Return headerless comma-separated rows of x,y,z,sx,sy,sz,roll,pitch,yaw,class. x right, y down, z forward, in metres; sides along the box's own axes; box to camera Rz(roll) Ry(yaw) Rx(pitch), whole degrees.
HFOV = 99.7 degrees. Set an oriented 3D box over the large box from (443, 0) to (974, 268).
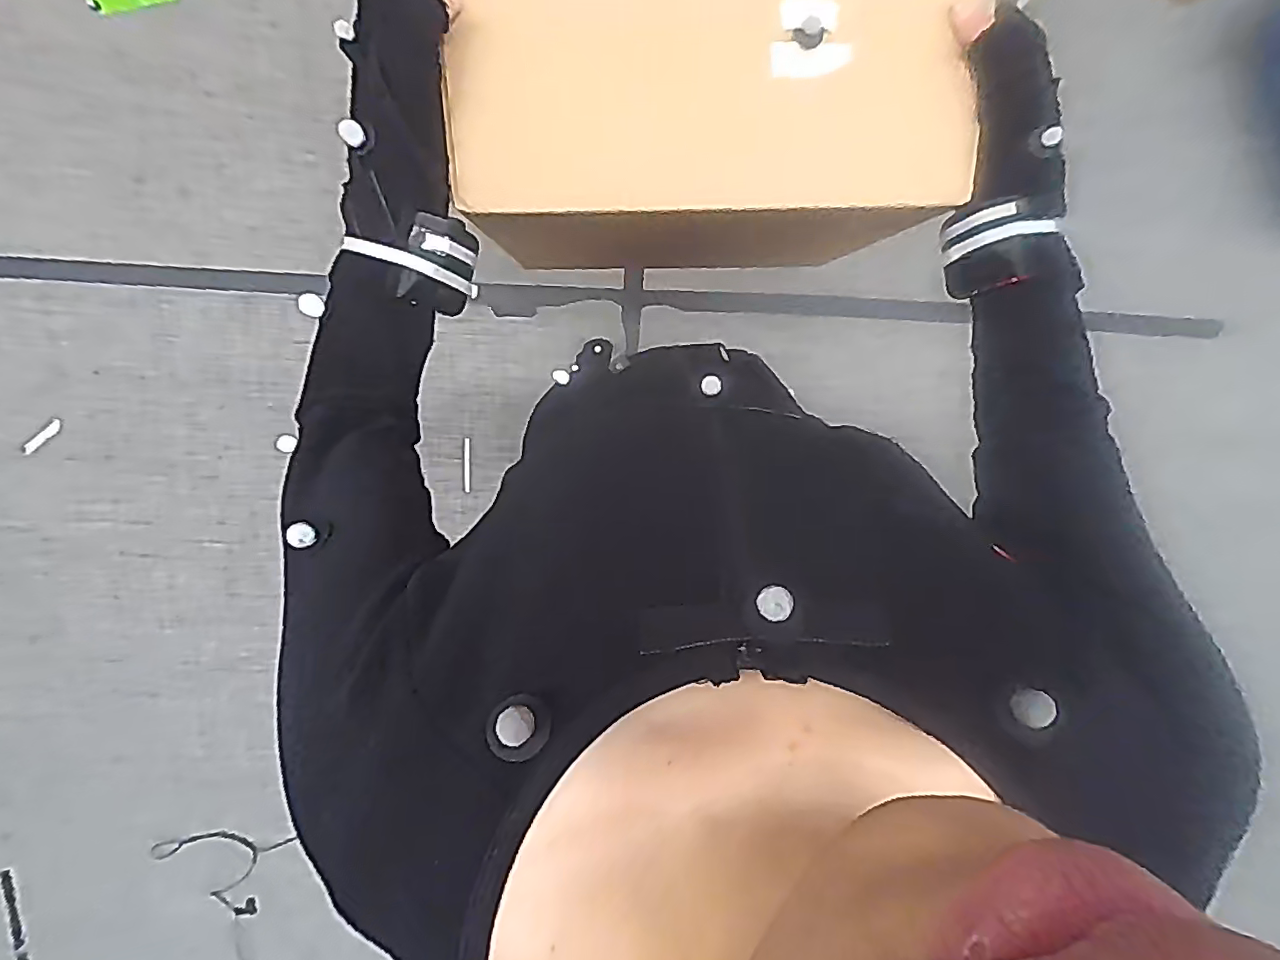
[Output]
0.045,-0.404,0.540,0.408,0.320,0.320,-2,104,-2,large box
